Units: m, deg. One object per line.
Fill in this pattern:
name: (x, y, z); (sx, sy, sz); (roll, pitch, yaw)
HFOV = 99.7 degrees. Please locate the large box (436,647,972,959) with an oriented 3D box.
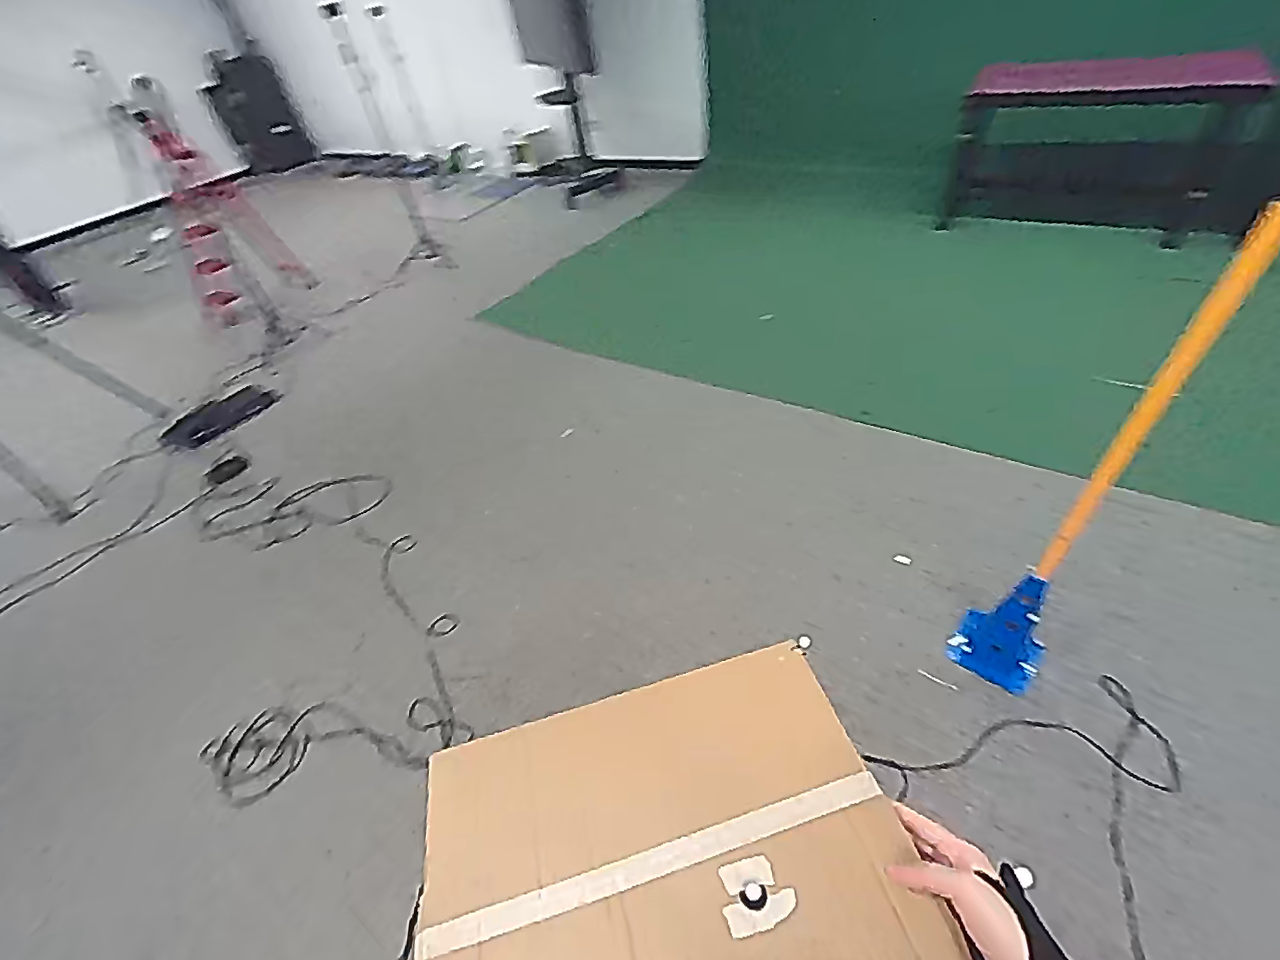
large box: (0.039, 0.440, 0.563); (0.408, 0.320, 0.320); (-14, 41, -6)

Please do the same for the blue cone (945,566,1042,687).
blue cone: (0.967, 0.361, 1.422); (0.193, 0.380, 0.192); (29, 55, 35)
